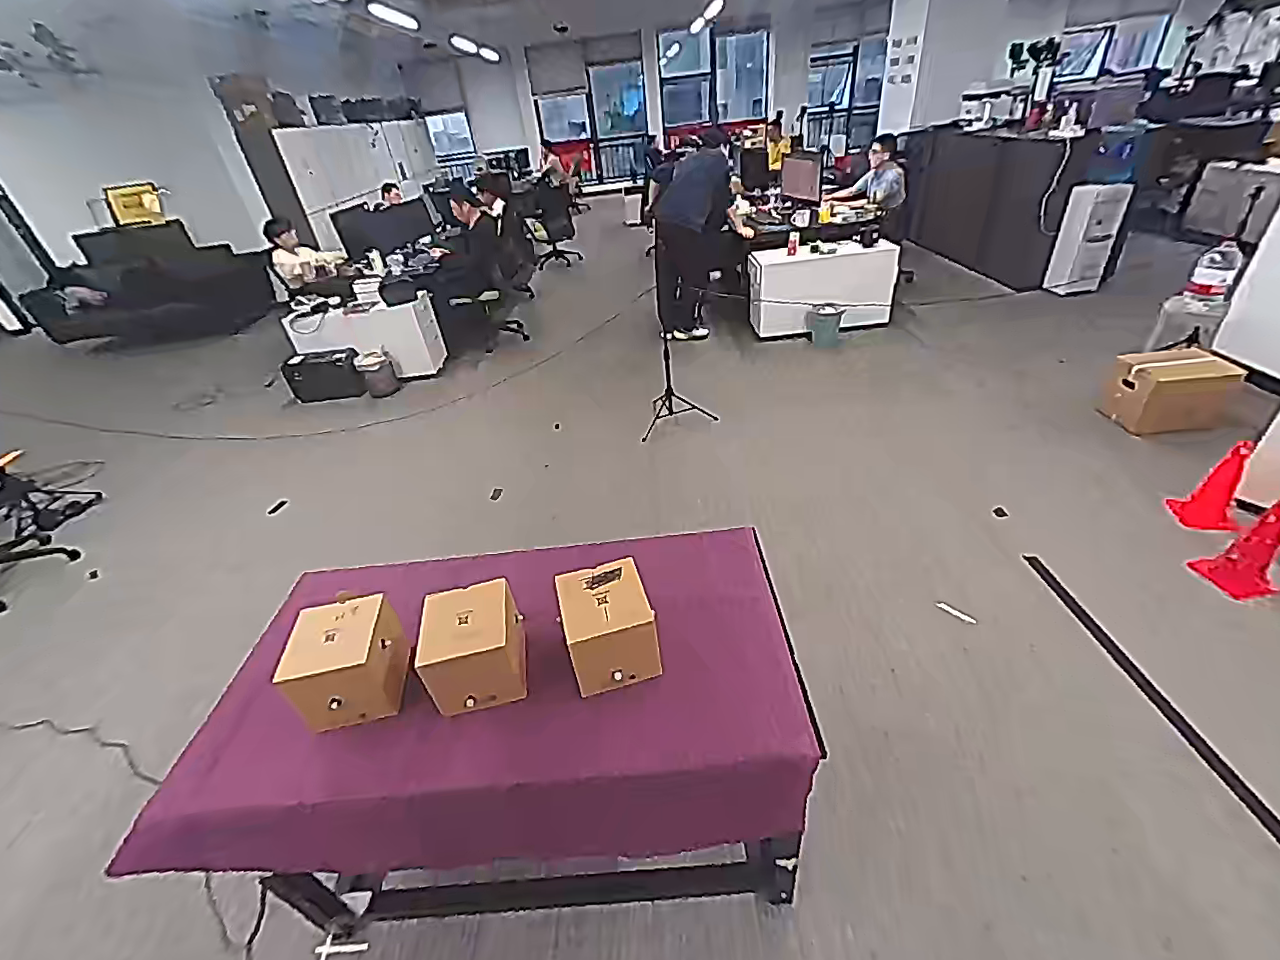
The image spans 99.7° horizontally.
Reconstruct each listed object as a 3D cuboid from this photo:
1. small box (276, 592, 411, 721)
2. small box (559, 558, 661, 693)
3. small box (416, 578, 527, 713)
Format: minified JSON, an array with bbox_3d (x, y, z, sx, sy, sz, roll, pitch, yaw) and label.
[{"bbox_3d":[-0.577,0.357,1.082,0.168,0.176,0.179,-10,35,-5],"label":"small box"},{"bbox_3d":[-0.061,0.289,1.086,0.168,0.176,0.179,-13,36,-8],"label":"small box"},{"bbox_3d":[-0.326,0.329,1.081,0.168,0.176,0.179,-12,35,-5],"label":"small box"}]
